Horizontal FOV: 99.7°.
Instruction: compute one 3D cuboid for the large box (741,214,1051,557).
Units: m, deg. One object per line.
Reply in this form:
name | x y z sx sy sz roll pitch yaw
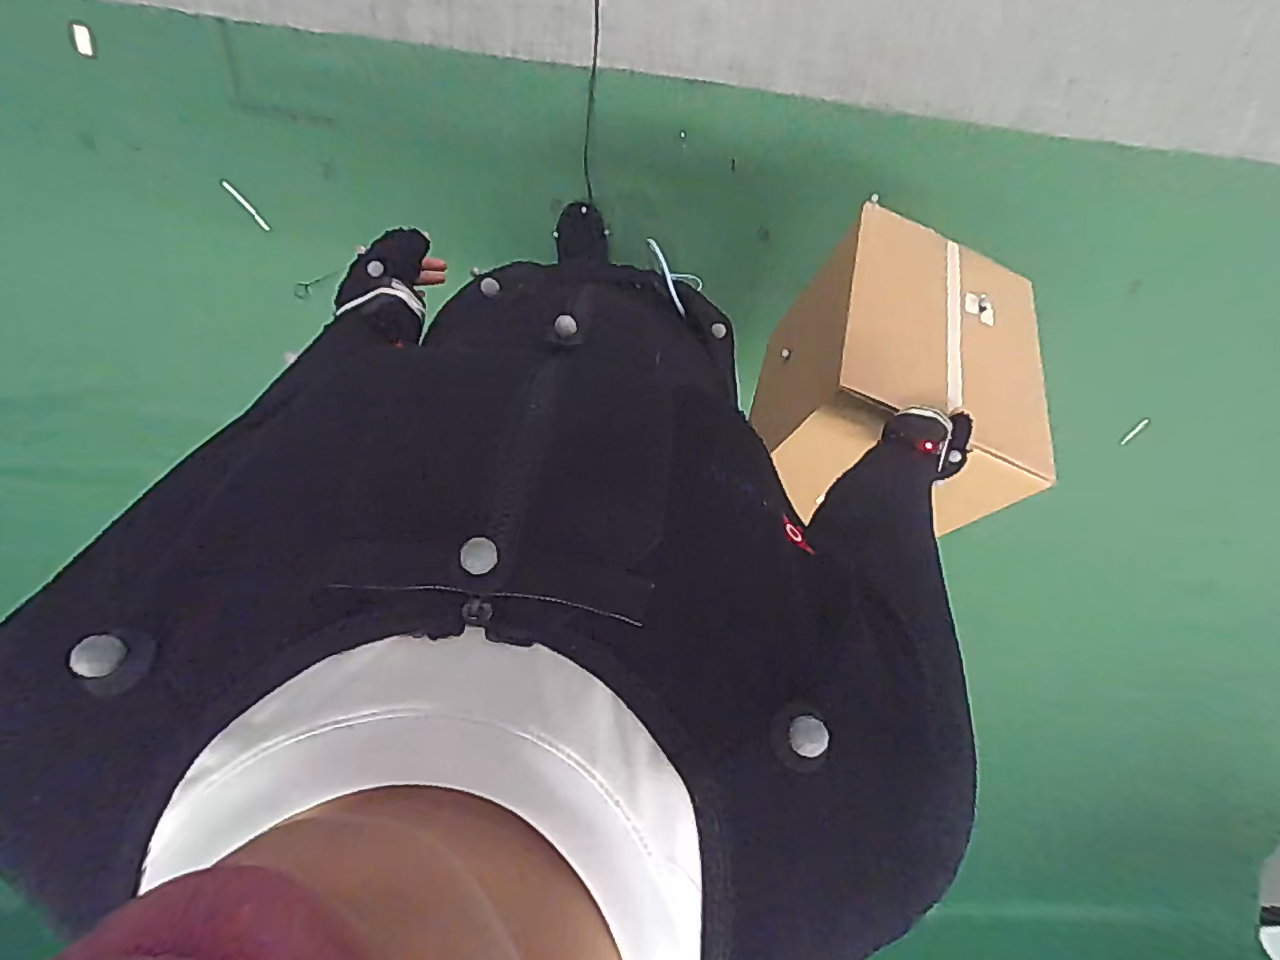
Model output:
large box | 0.397 -0.141 0.901 0.320 0.408 0.320 23 149 -6
